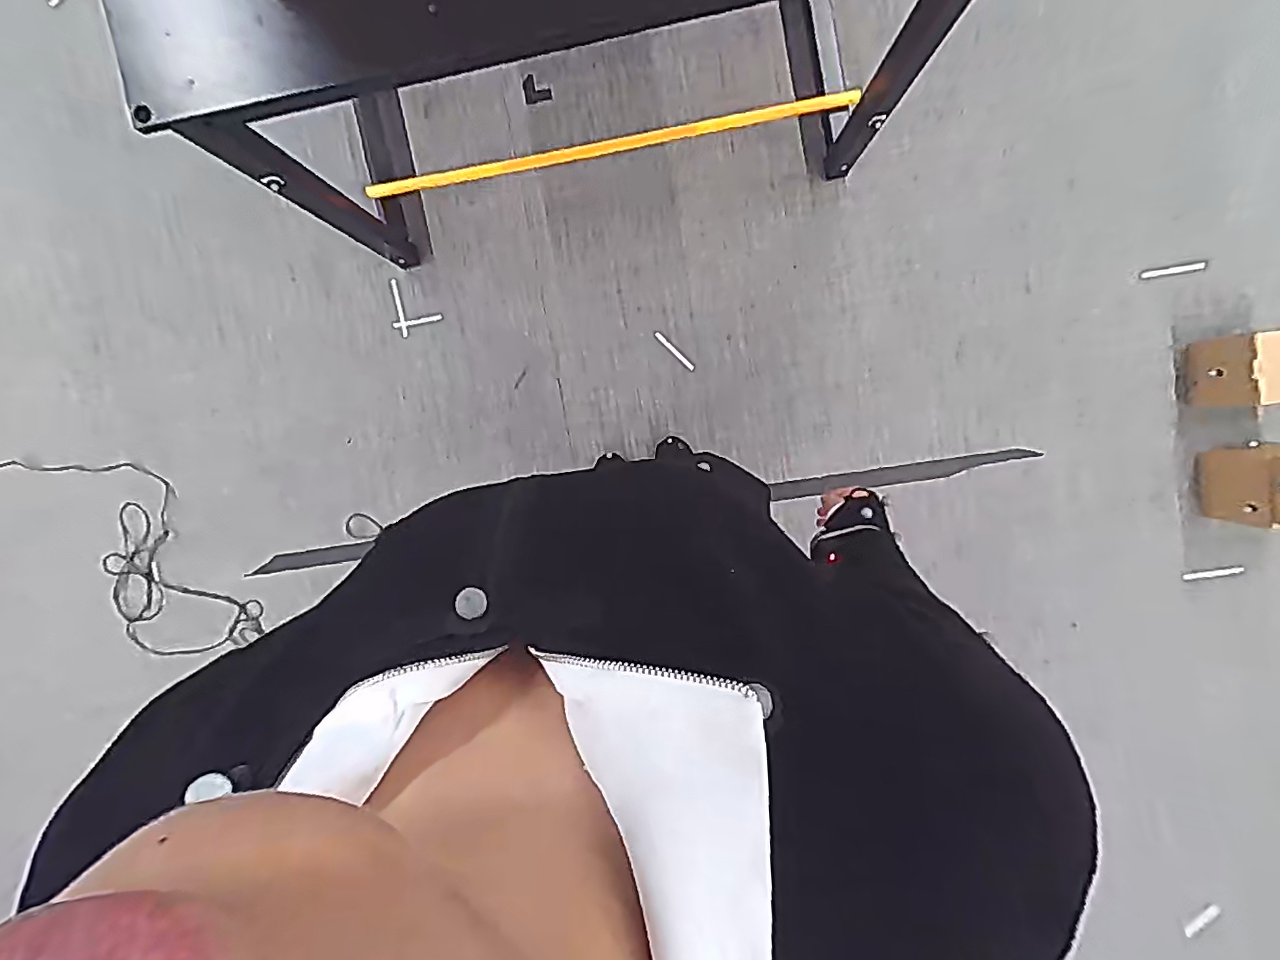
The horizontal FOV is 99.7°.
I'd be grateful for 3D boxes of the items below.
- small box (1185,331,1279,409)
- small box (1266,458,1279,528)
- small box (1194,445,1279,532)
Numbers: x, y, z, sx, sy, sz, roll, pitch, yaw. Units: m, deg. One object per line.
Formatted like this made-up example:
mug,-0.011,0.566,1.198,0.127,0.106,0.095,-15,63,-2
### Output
small box,1.477,-0.264,1.305,0.179,0.176,0.168,-7,95,4
small box,1.536,0.027,1.169,0.179,0.176,0.168,-8,95,5
small box,1.532,0.016,1.332,0.168,0.176,0.179,-11,96,3
